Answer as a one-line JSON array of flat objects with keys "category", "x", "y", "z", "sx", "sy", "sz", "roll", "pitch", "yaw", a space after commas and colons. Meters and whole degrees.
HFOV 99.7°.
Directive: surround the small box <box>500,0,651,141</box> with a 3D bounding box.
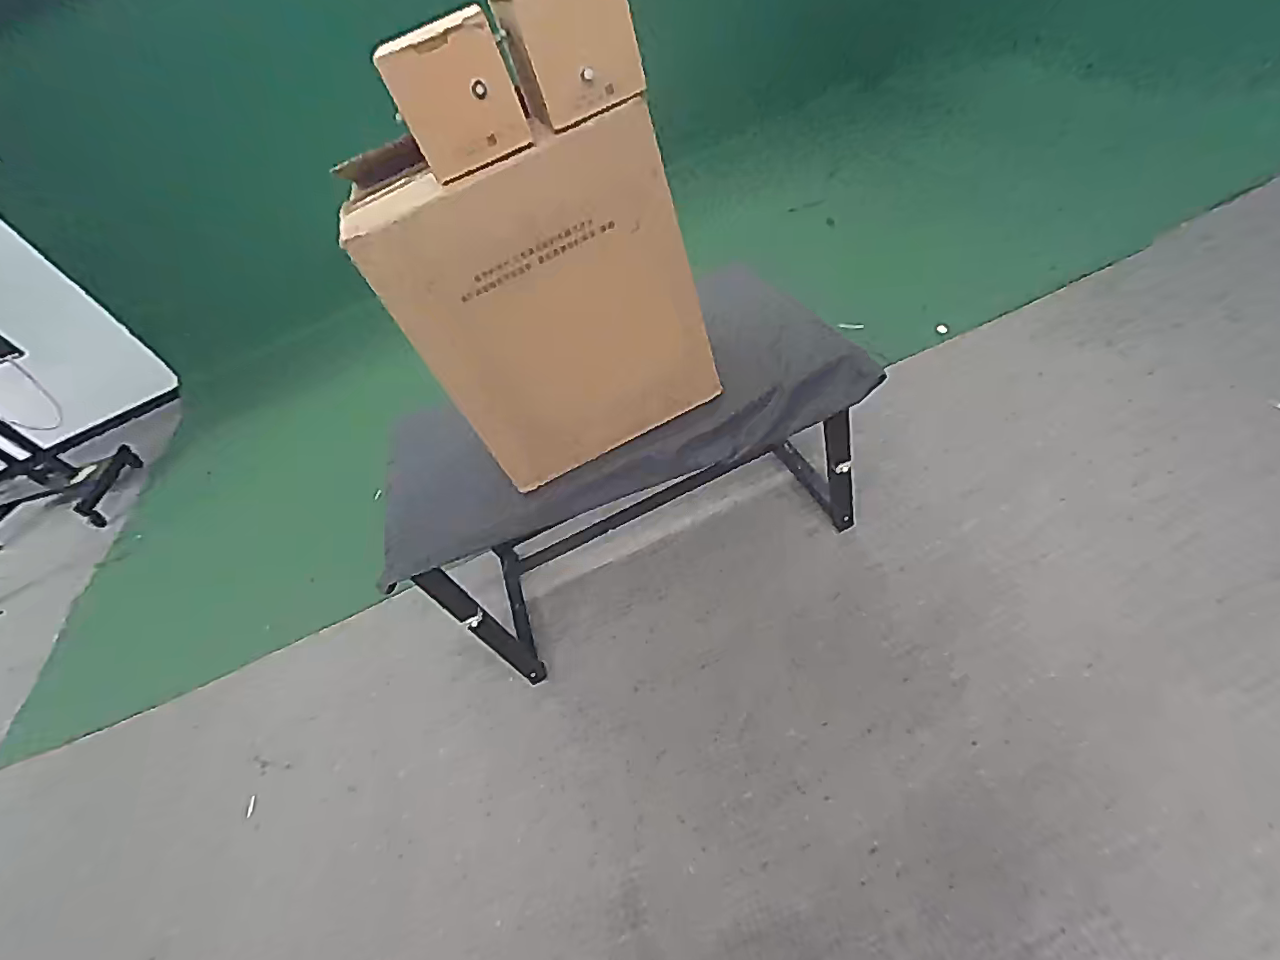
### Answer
[{"category": "small box", "x": -0.100, "y": -0.669, "z": 0.862, "sx": 0.168, "sy": 0.176, "sz": 0.179, "roll": -27, "pitch": 45, "yaw": -3}]
